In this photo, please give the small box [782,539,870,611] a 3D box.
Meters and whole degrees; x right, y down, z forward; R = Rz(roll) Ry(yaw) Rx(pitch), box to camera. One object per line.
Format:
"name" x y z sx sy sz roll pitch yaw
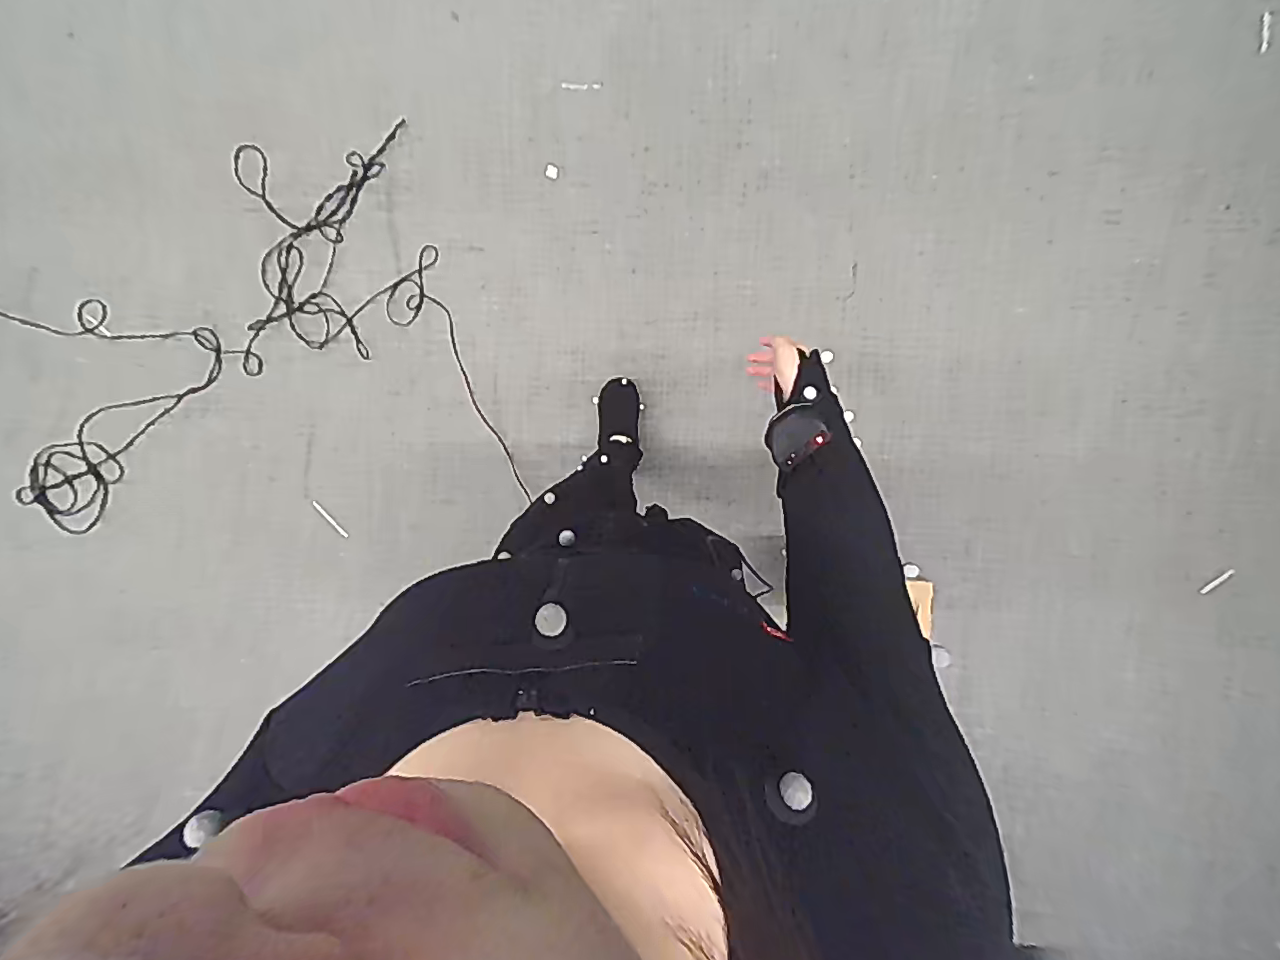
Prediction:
"small box" 0.471 0.246 1.395 0.179 0.176 0.168 3 92 2
